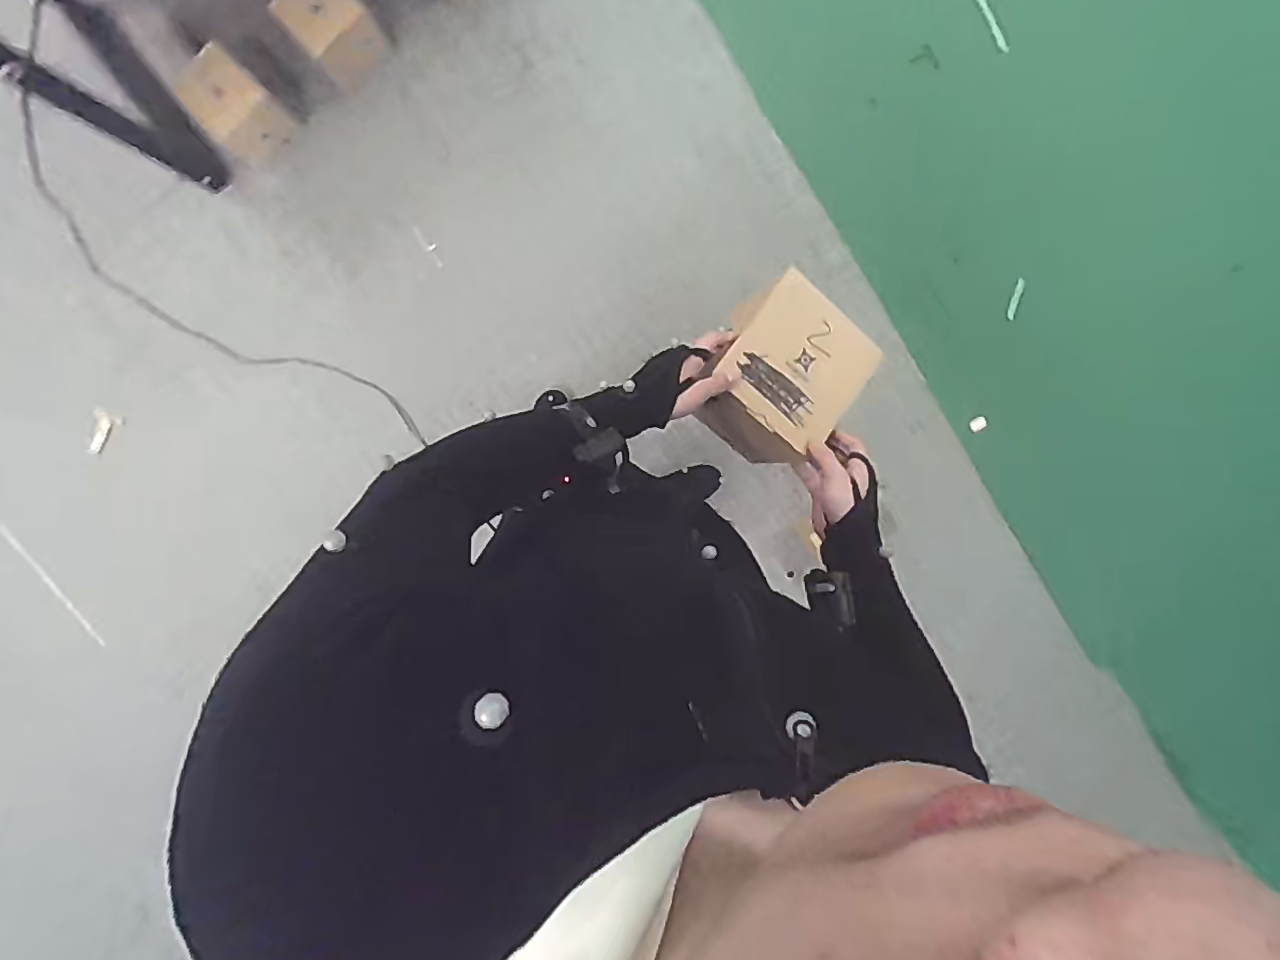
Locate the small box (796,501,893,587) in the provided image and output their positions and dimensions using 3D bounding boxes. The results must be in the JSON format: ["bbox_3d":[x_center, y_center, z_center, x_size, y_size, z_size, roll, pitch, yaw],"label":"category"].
[{"bbox_3d":[0.580,0.173,1.559,0.168,0.176,0.179,-35,97,2],"label":"small box"}]

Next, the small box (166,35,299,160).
[{"bbox_3d":[-1.033,-0.964,1.390,0.168,0.176,0.179,-43,96,4],"label":"small box"}]

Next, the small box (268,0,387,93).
[{"bbox_3d":[-0.777,-1.152,1.375,0.179,0.176,0.168,-41,95,4],"label":"small box"}]
